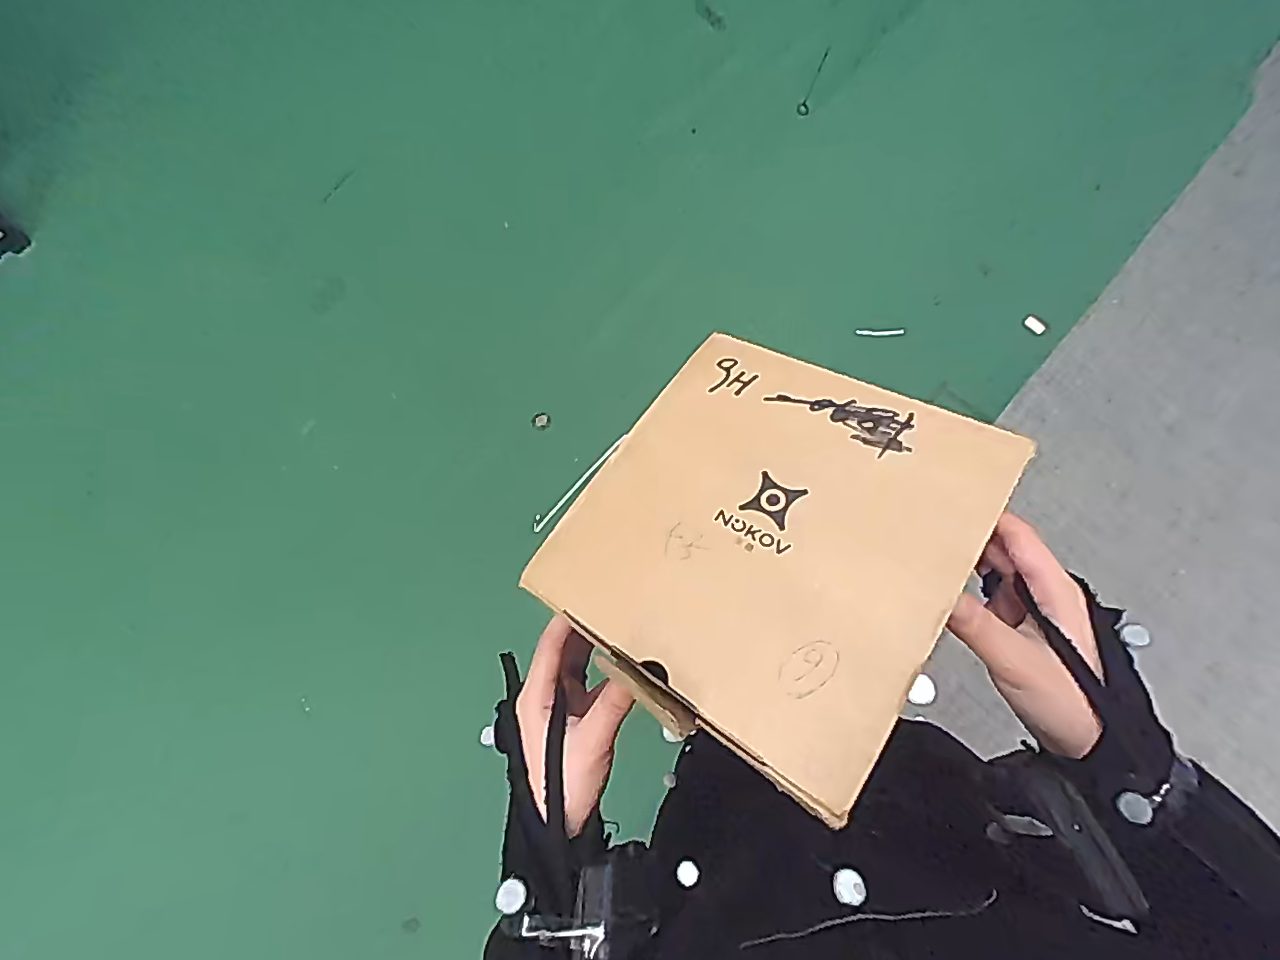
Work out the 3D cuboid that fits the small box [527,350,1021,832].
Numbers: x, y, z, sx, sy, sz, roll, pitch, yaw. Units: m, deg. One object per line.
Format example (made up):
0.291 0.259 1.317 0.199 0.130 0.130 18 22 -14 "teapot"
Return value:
0.075 0.063 0.315 0.168 0.176 0.179 28 72 28 "small box"
